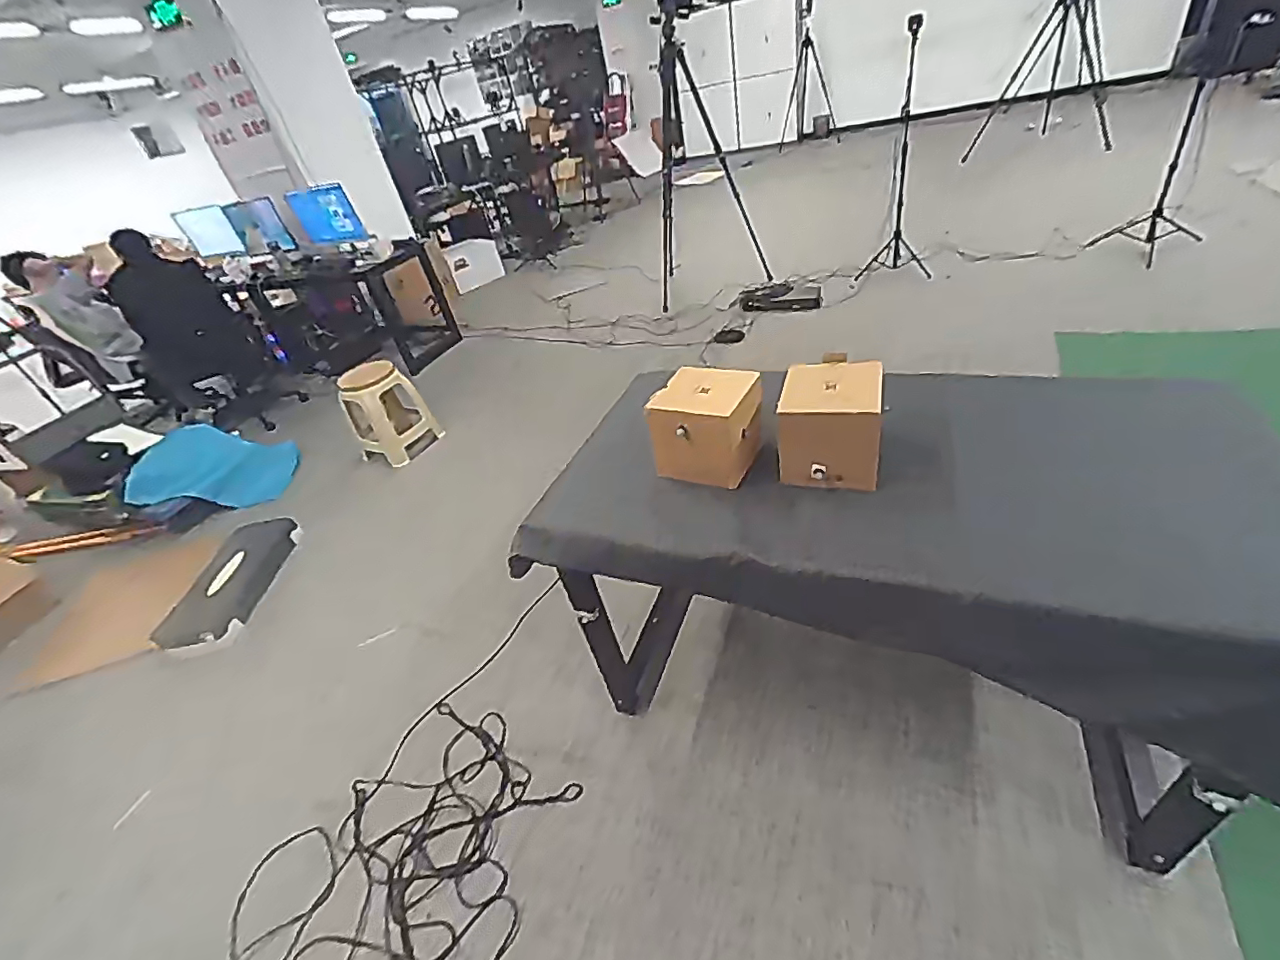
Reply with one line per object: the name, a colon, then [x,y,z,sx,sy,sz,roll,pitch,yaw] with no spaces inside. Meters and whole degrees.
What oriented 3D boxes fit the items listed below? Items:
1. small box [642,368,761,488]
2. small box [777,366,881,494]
small box: [0.131,-0.103,1.074,0.179,0.176,0.168,11,43,30]
small box: [0.349,-0.095,0.999,0.168,0.176,0.179,3,39,22]
